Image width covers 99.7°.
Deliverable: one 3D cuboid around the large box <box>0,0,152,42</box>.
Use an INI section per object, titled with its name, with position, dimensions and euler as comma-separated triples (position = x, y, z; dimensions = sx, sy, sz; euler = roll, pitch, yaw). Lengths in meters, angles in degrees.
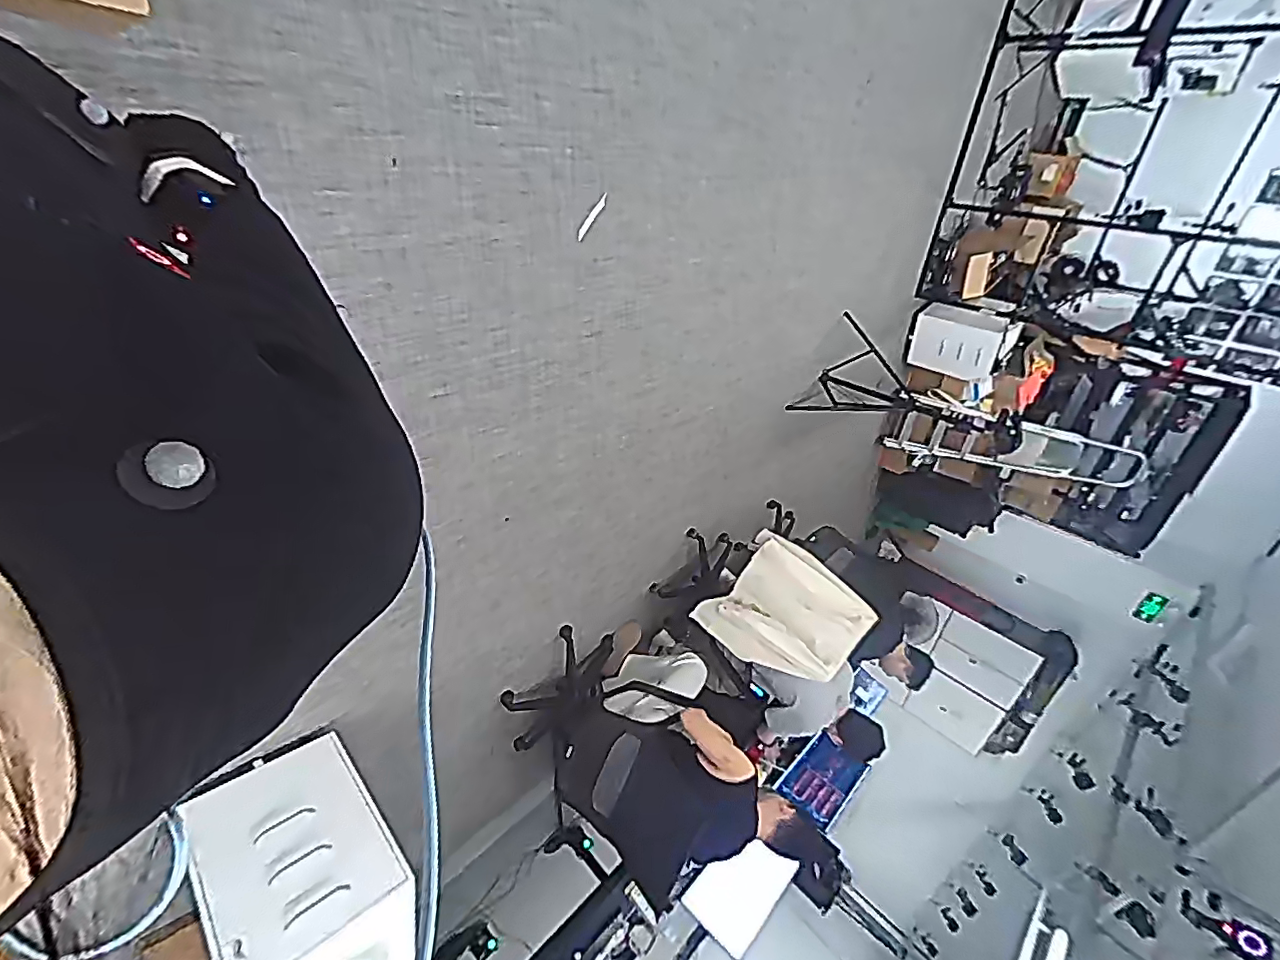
[large box]
position = -0.856, -0.717, 0.578
dimensions = 0.408, 0.320, 0.320
euler = -22, 130, -42
